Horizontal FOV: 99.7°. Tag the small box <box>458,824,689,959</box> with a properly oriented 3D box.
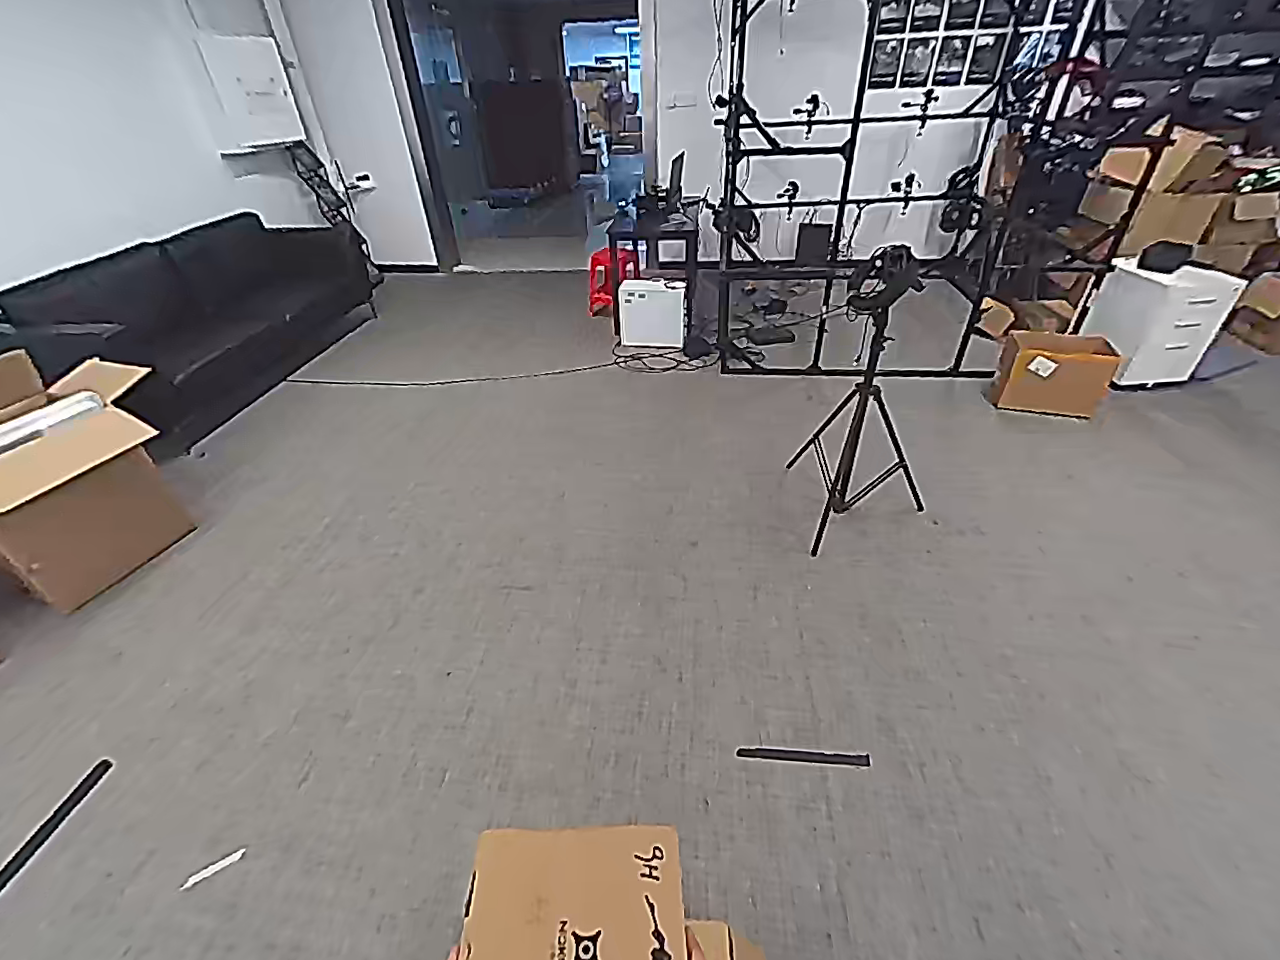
[{"bbox_3d":[-0.053,0.415,0.461,0.179,0.176,0.168,2,40,-4],"label":"small box"}]
